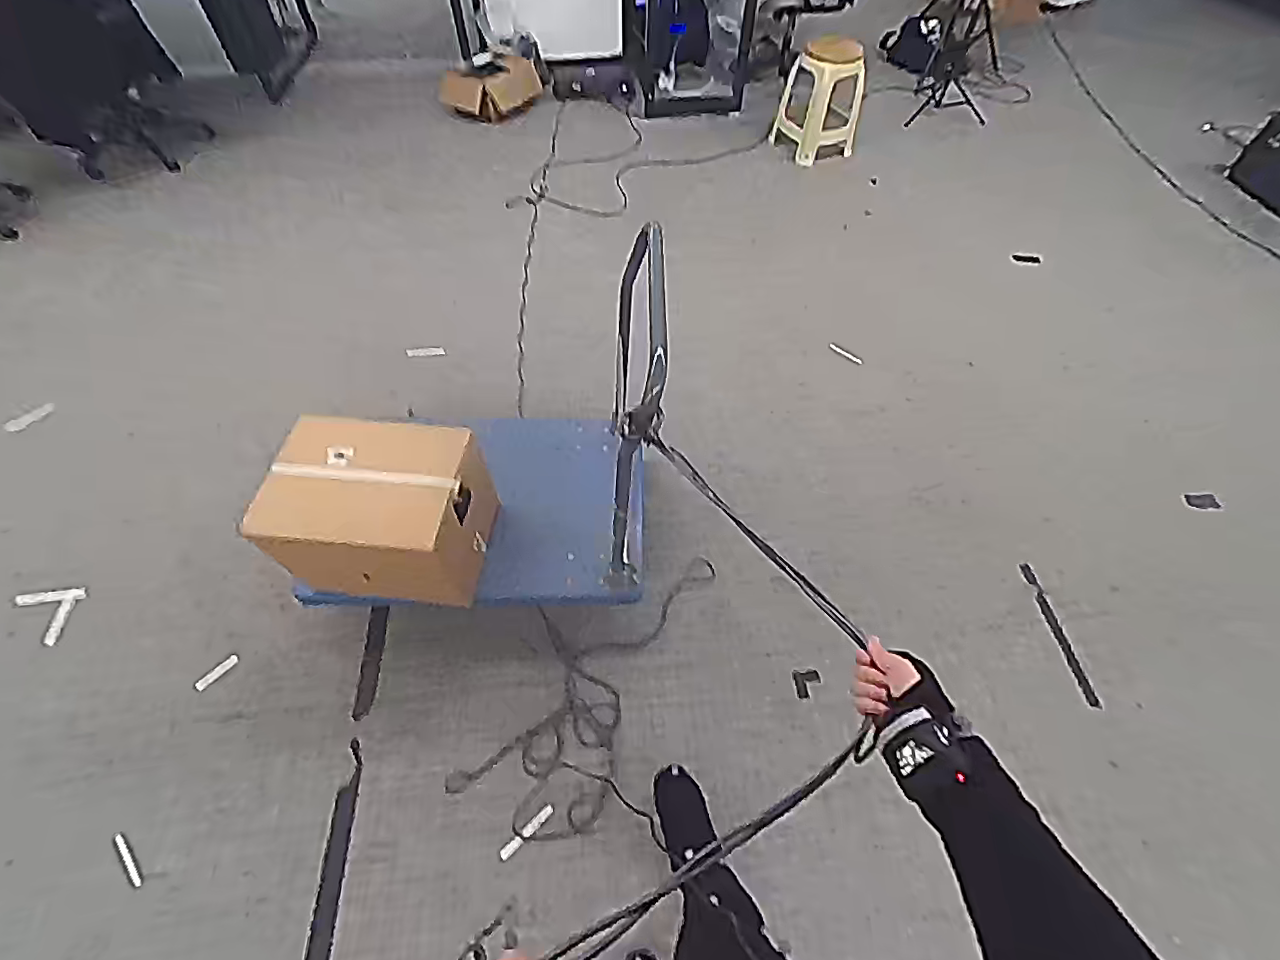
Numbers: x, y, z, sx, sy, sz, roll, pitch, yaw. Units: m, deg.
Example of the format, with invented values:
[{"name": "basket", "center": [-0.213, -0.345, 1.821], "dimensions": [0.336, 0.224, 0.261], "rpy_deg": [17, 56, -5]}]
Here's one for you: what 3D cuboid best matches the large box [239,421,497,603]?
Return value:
[{"name": "large box", "center": [-0.592, 0.084, 1.275], "dimensions": [0.408, 0.320, 0.320], "rpy_deg": [4, 56, 2]}]
